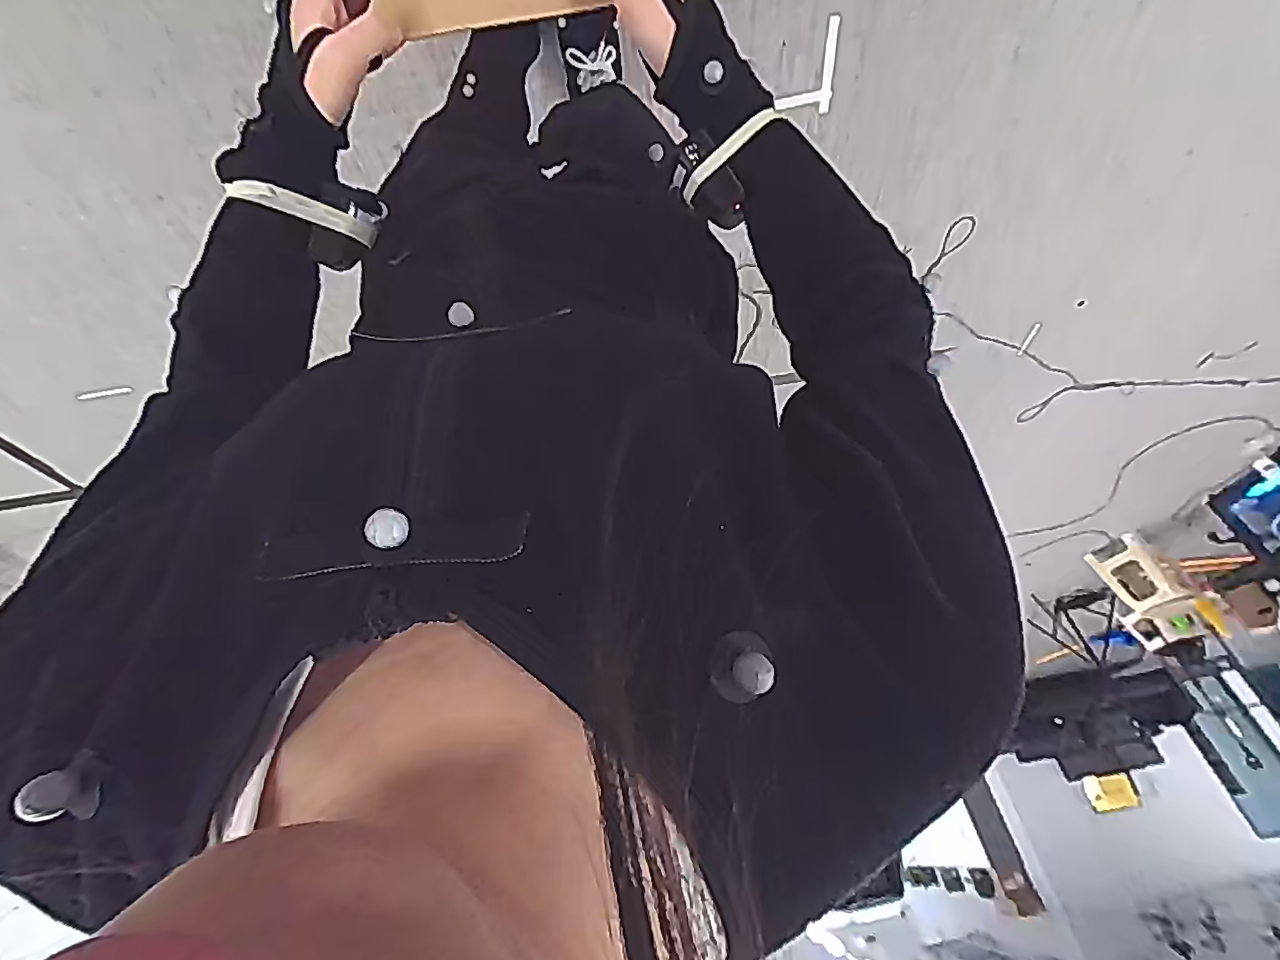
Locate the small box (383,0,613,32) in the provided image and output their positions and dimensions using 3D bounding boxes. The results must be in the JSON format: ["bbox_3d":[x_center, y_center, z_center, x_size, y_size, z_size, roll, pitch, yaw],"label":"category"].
[{"bbox_3d":[-0.104,-0.430,0.353,0.168,0.176,0.179,-8,140,1],"label":"small box"}]

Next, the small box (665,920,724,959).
[{"bbox_3d":[0.168,1.434,1.600,0.168,0.176,0.179,-10,147,0],"label":"small box"}]

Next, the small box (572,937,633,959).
[{"bbox_3d":[-0.103,1.481,1.599,0.168,0.176,0.179,-10,145,-2],"label":"small box"}]
